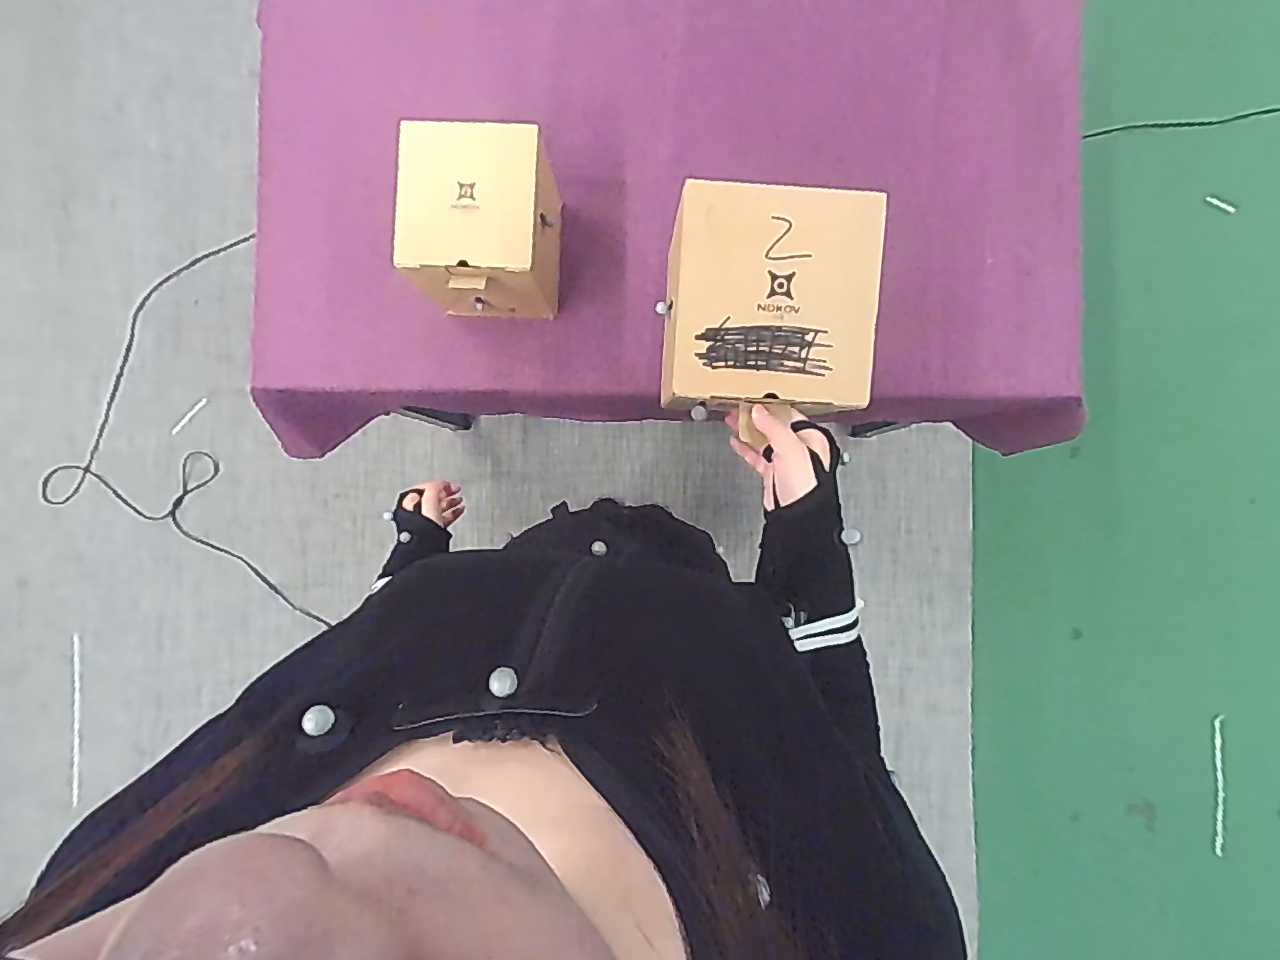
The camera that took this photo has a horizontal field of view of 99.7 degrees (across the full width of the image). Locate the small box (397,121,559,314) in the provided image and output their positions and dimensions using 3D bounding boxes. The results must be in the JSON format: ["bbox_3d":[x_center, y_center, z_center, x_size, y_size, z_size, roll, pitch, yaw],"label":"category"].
[{"bbox_3d":[-0.205,-0.340,0.728,0.168,0.176,0.179,3,89,1],"label":"small box"}]
